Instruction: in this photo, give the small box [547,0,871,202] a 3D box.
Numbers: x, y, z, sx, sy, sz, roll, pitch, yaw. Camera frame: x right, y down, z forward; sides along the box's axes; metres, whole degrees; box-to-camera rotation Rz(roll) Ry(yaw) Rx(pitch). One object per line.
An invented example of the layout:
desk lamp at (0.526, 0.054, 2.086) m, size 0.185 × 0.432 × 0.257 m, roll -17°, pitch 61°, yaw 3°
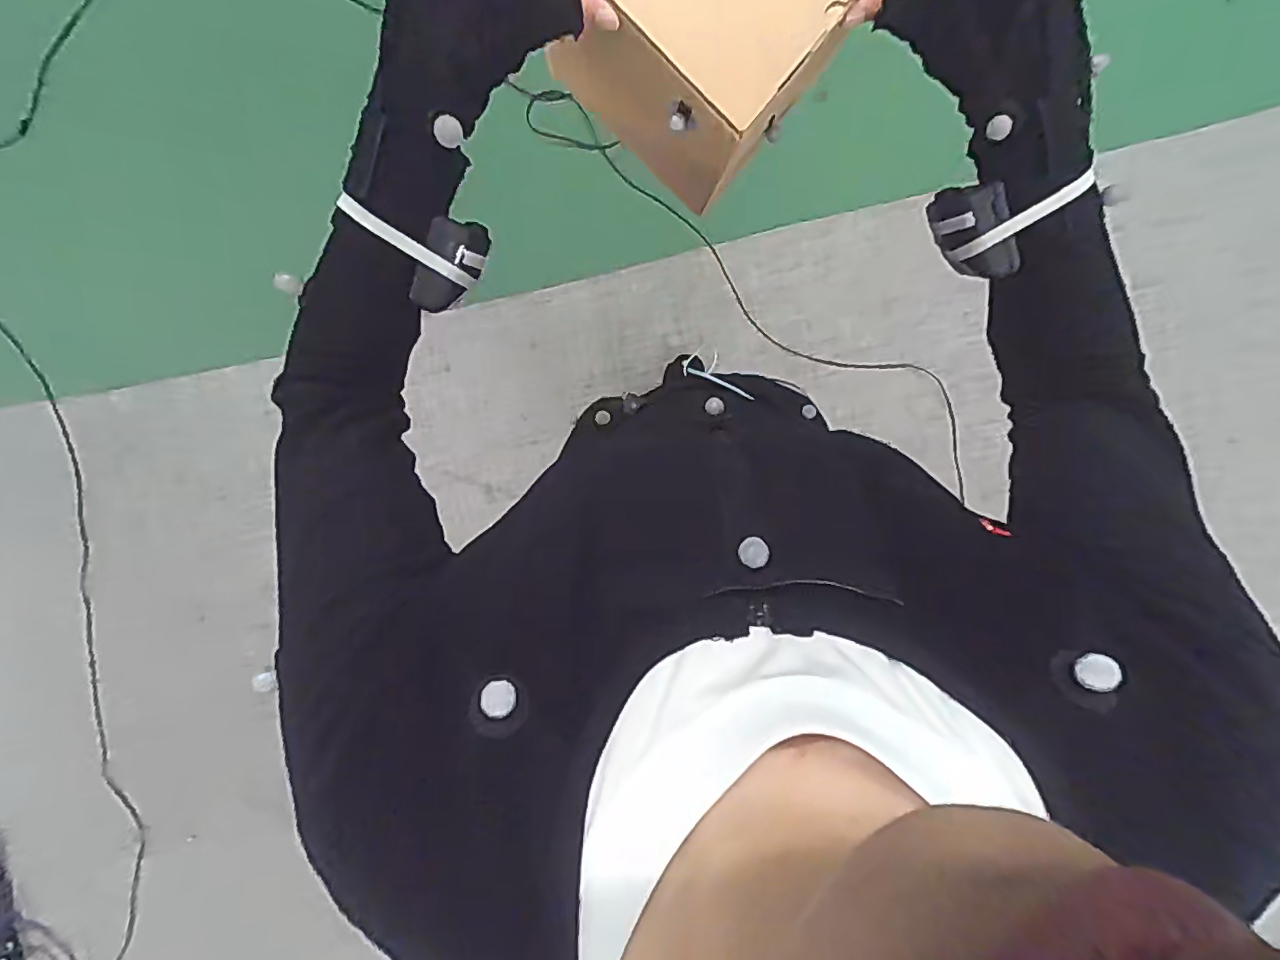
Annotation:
small box at (0.045, -0.339, 0.385) m, size 0.179 × 0.176 × 0.168 m, roll 41°, pitch 96°, yaw -11°
